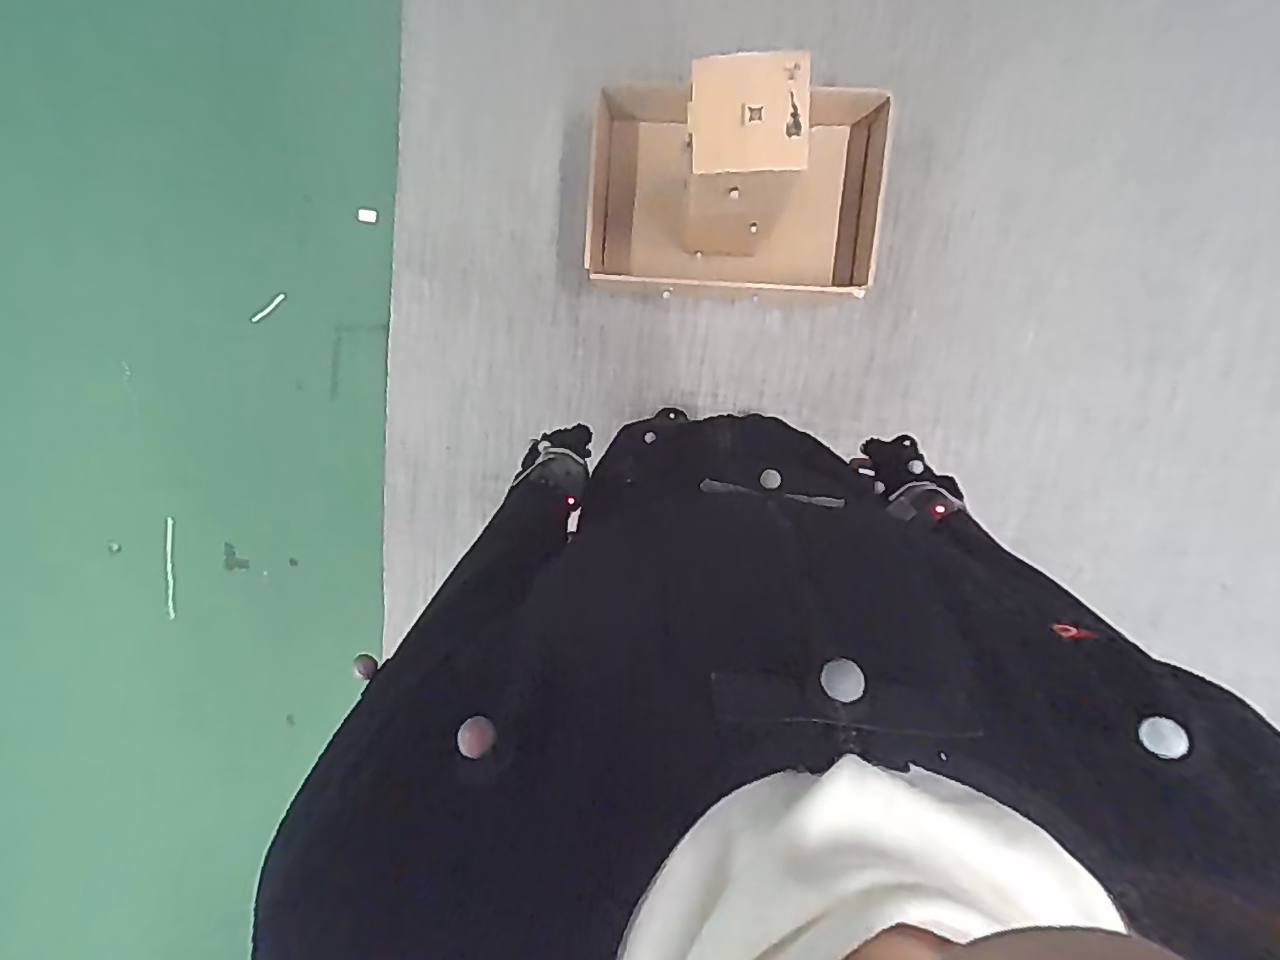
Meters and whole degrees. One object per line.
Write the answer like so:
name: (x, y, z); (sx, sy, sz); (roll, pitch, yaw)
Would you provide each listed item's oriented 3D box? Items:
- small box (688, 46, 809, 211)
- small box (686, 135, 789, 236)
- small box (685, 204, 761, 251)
small box: (0.170, -0.559, 0.885); (0.179, 0.176, 0.168); (-3, 96, 4)
small box: (0.179, -0.577, 1.028); (0.179, 0.176, 0.168); (-2, 98, 4)
small box: (0.190, -0.620, 1.201); (0.168, 0.176, 0.179); (4, 98, 4)
